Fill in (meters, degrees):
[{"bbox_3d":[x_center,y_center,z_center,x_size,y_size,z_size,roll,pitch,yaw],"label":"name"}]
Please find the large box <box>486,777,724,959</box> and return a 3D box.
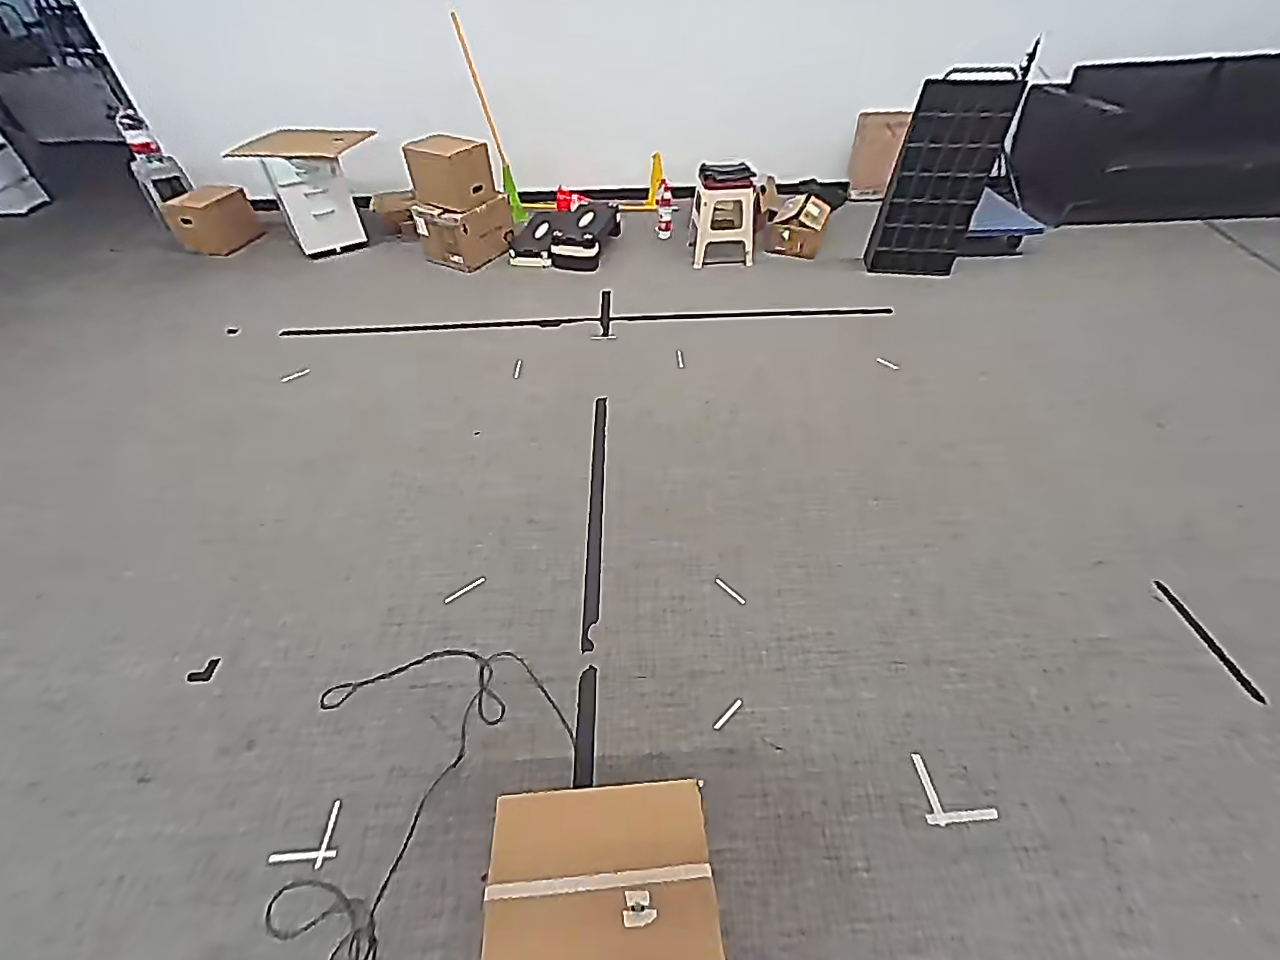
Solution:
[{"bbox_3d":[-0.070,0.834,1.085,0.408,0.320,0.320,-3,43,-3],"label":"large box"}]
